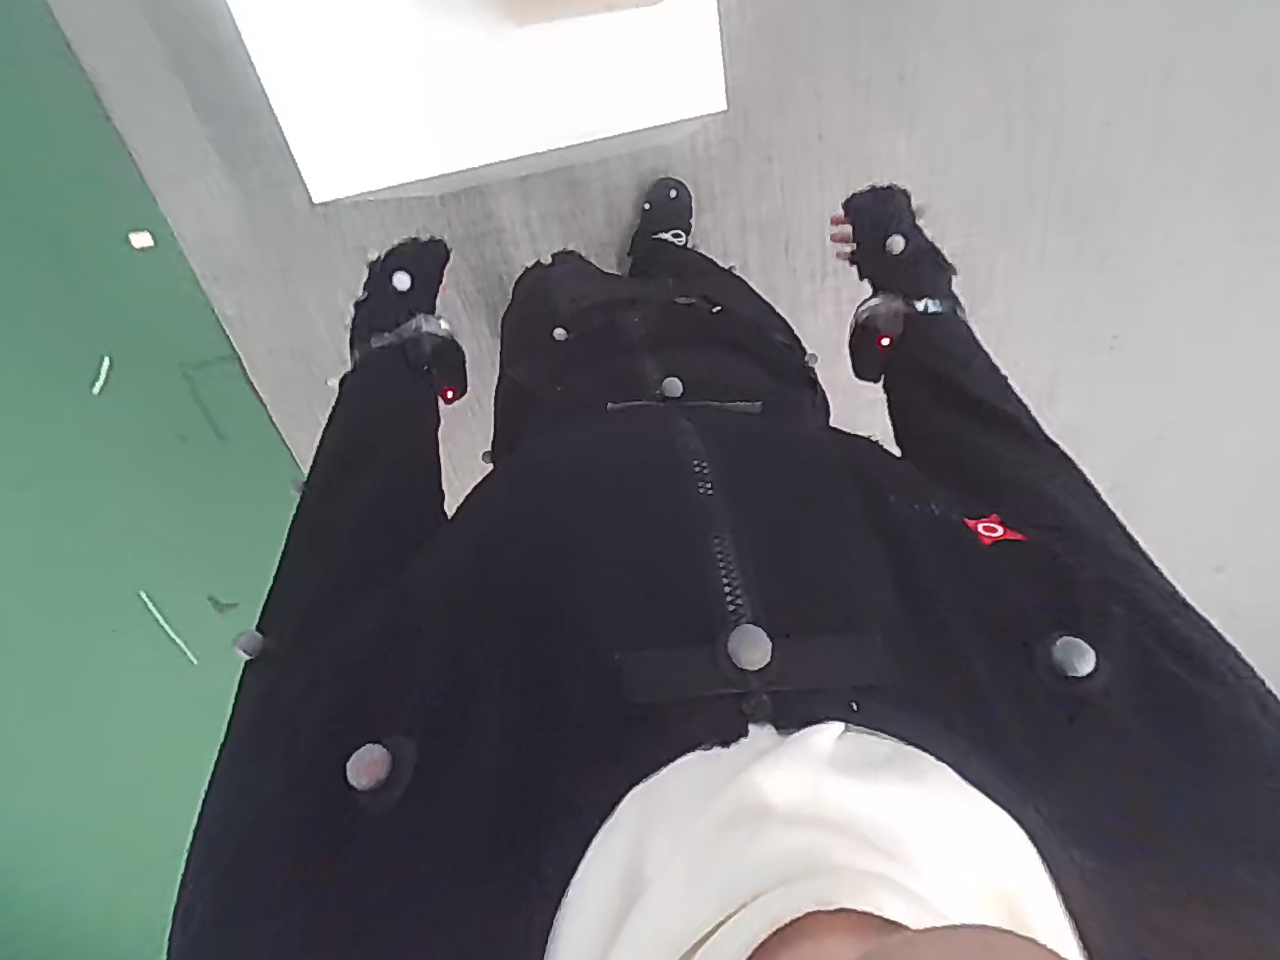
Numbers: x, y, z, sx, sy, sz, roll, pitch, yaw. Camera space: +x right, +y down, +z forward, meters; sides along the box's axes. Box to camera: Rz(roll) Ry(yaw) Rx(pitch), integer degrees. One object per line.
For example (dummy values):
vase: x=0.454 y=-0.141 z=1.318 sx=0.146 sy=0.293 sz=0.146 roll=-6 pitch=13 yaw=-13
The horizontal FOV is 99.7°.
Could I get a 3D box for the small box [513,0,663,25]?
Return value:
small box: x=-0.058 y=-0.542 z=0.475 sx=0.168 sy=0.176 sz=0.179 roll=-7 pitch=118 yaw=1
